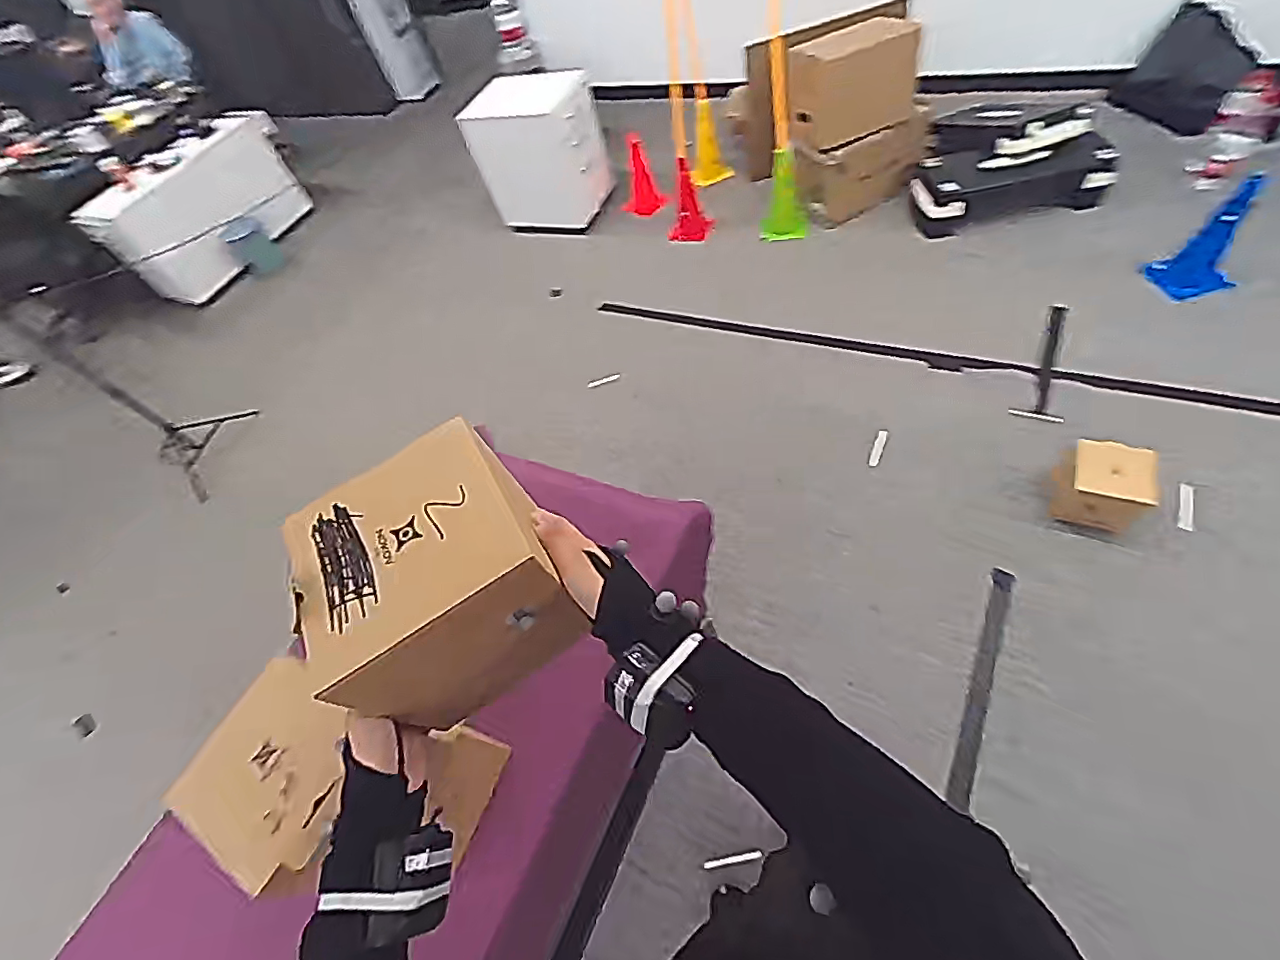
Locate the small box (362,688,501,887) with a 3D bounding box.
[{"bbox_3d":[-0.320,0.417,0.741,0.168,0.176,0.179,13,61,22],"label":"small box"}]

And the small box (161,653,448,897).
[{"bbox_3d":[-0.359,0.327,0.609,0.179,0.176,0.168,18,64,25],"label":"small box"}]

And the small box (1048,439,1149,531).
[{"bbox_3d":[1.259,0.017,1.493,0.168,0.176,0.179,14,61,22],"label":"small box"}]
